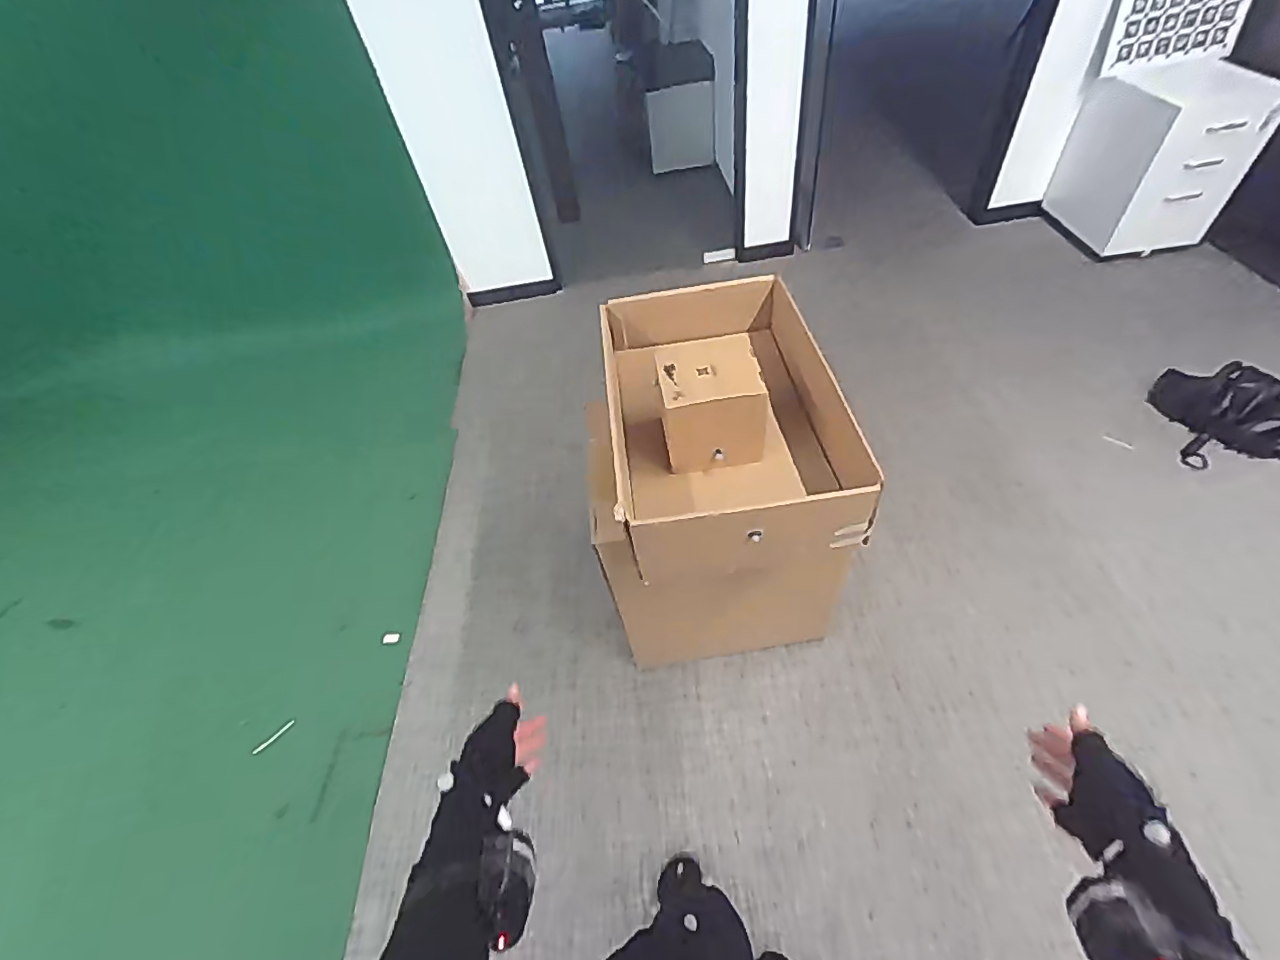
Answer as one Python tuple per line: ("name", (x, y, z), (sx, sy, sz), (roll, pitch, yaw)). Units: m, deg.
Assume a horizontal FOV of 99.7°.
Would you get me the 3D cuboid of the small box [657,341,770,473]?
("small box", (0.131, -0.133, 1.011), (0.179, 0.176, 0.168), (-8, 47, 0))
